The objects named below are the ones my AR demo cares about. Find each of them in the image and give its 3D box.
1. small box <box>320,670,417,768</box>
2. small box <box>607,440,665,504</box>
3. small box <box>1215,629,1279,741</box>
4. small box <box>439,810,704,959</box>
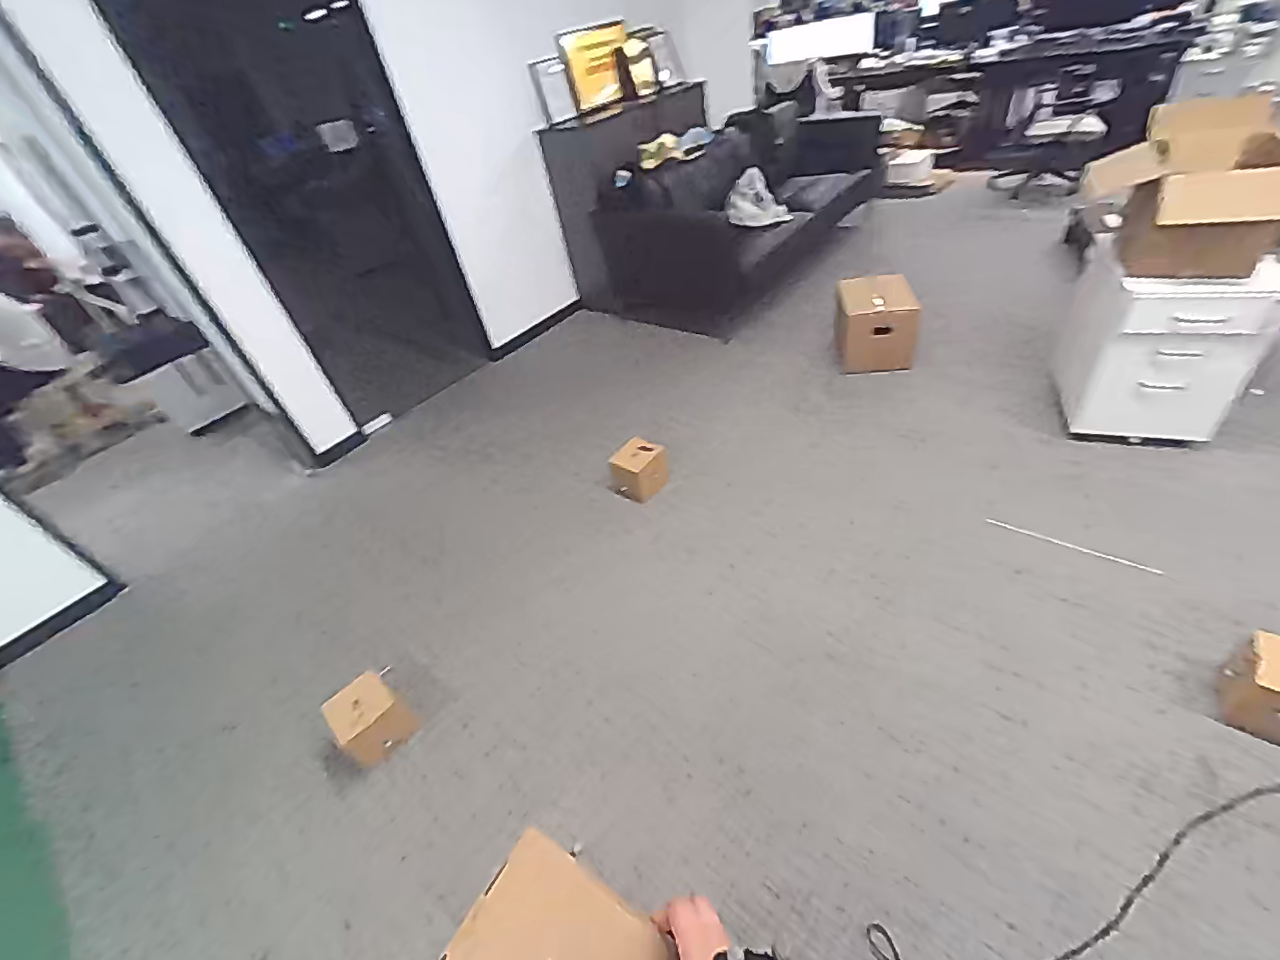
[{"bbox_3d":[-0.796,0.706,1.591,0.179,0.176,0.168,28,55,38],"label":"small box"},{"bbox_3d":[-0.010,-0.034,2.264,0.168,0.176,0.179,23,52,35],"label":"small box"},{"bbox_3d":[1.476,0.484,1.243,0.179,0.176,0.168,19,50,34],"label":"small box"},{"bbox_3d":[-0.068,0.437,0.485,0.179,0.176,0.168,28,57,15],"label":"small box"}]
